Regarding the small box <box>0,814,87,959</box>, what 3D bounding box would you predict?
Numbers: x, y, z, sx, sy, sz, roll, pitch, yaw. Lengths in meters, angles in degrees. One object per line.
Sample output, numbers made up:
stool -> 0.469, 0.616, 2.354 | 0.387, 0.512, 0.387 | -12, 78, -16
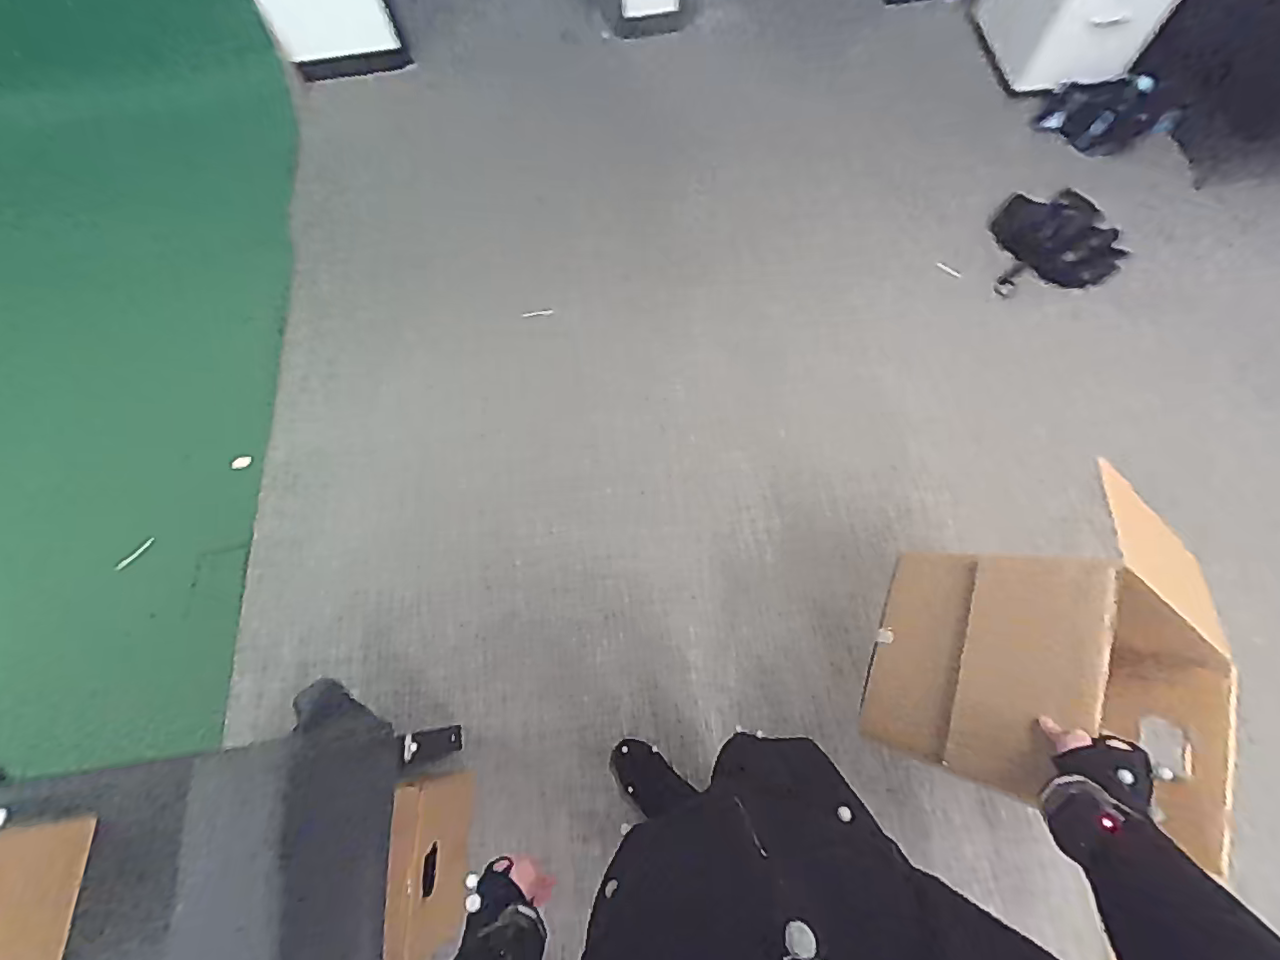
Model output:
small box -> -0.753, 0.472, 0.566 | 0.168, 0.176, 0.179 | -5, 67, 0
